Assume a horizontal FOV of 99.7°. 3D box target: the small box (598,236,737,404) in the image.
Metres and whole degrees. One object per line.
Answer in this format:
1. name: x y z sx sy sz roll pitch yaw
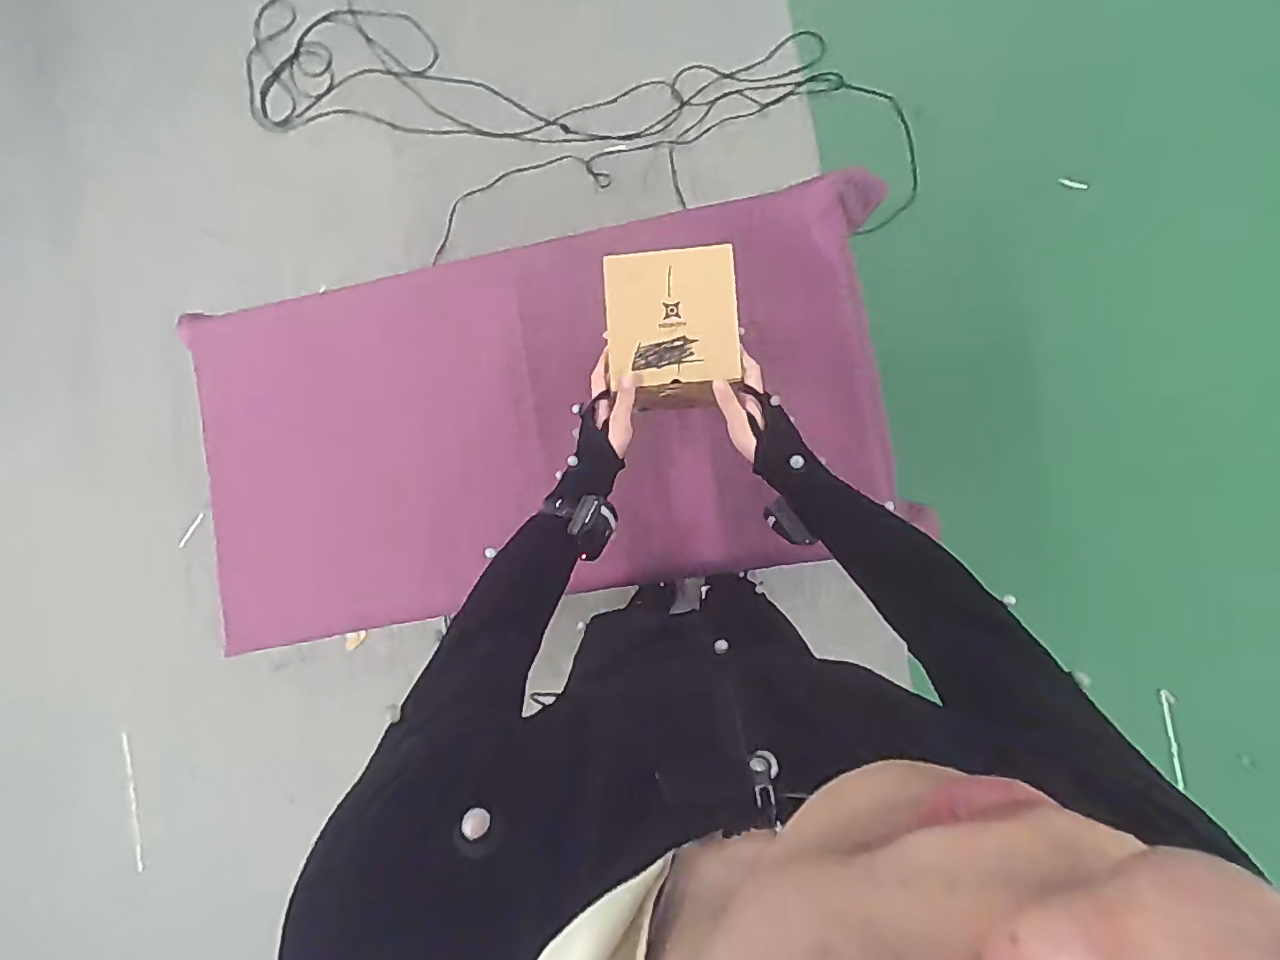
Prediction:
1. small box: 0.041 -0.203 0.737 0.168 0.176 0.179 -4 87 5
